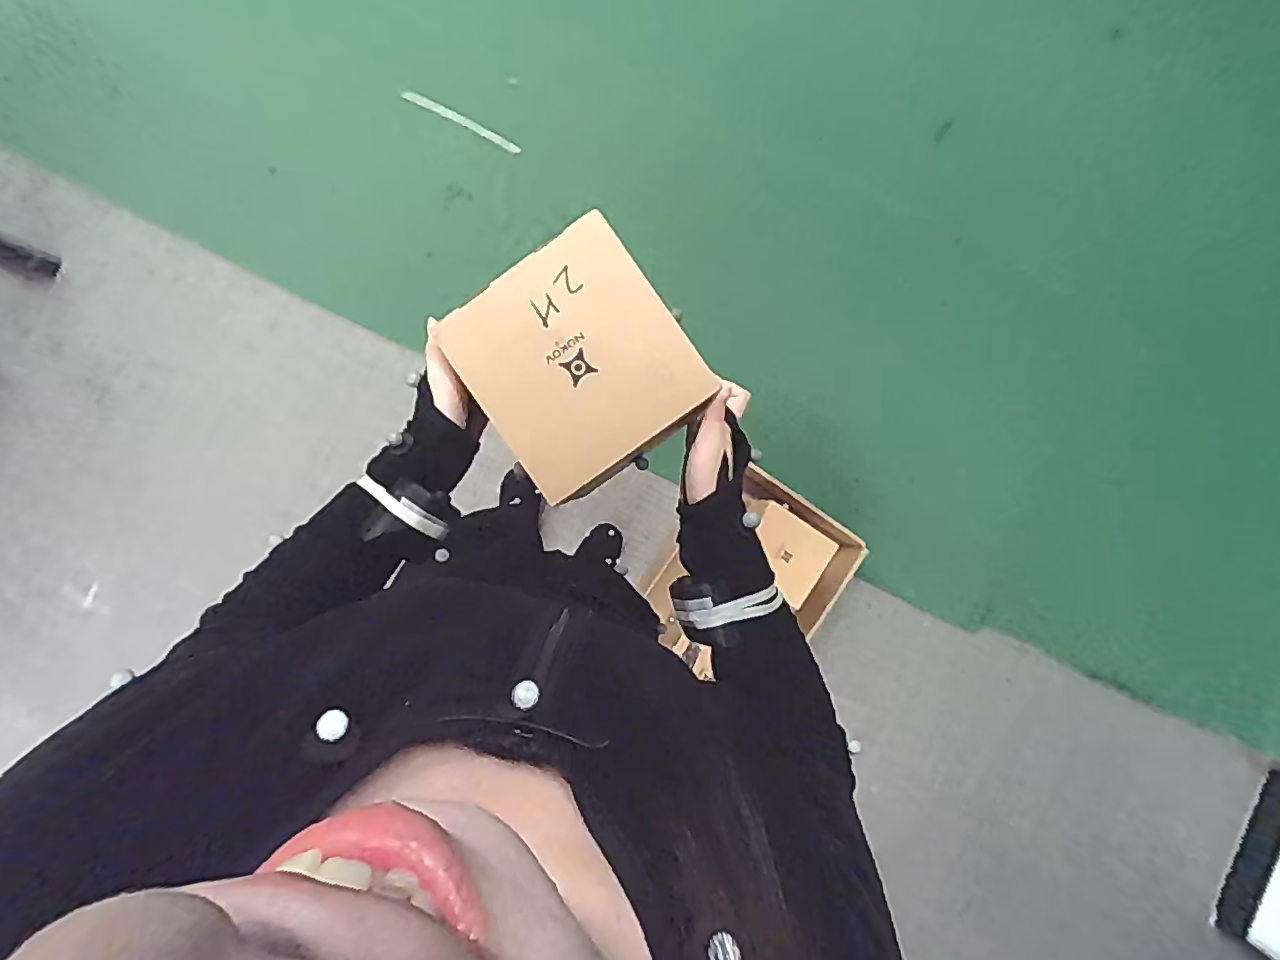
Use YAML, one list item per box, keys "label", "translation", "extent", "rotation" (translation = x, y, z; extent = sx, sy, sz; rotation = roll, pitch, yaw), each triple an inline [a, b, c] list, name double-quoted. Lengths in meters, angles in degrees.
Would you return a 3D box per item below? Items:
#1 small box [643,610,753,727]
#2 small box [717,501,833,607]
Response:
- label: "small box"
  translation: [0.119, 0.408, 1.210]
  extent: [0.179, 0.176, 0.168]
  rotation: [34, 87, -1]
- label: "small box"
  translation: [0.297, 0.158, 1.229]
  extent: [0.179, 0.176, 0.168]
  rotation: [35, 88, 1]
